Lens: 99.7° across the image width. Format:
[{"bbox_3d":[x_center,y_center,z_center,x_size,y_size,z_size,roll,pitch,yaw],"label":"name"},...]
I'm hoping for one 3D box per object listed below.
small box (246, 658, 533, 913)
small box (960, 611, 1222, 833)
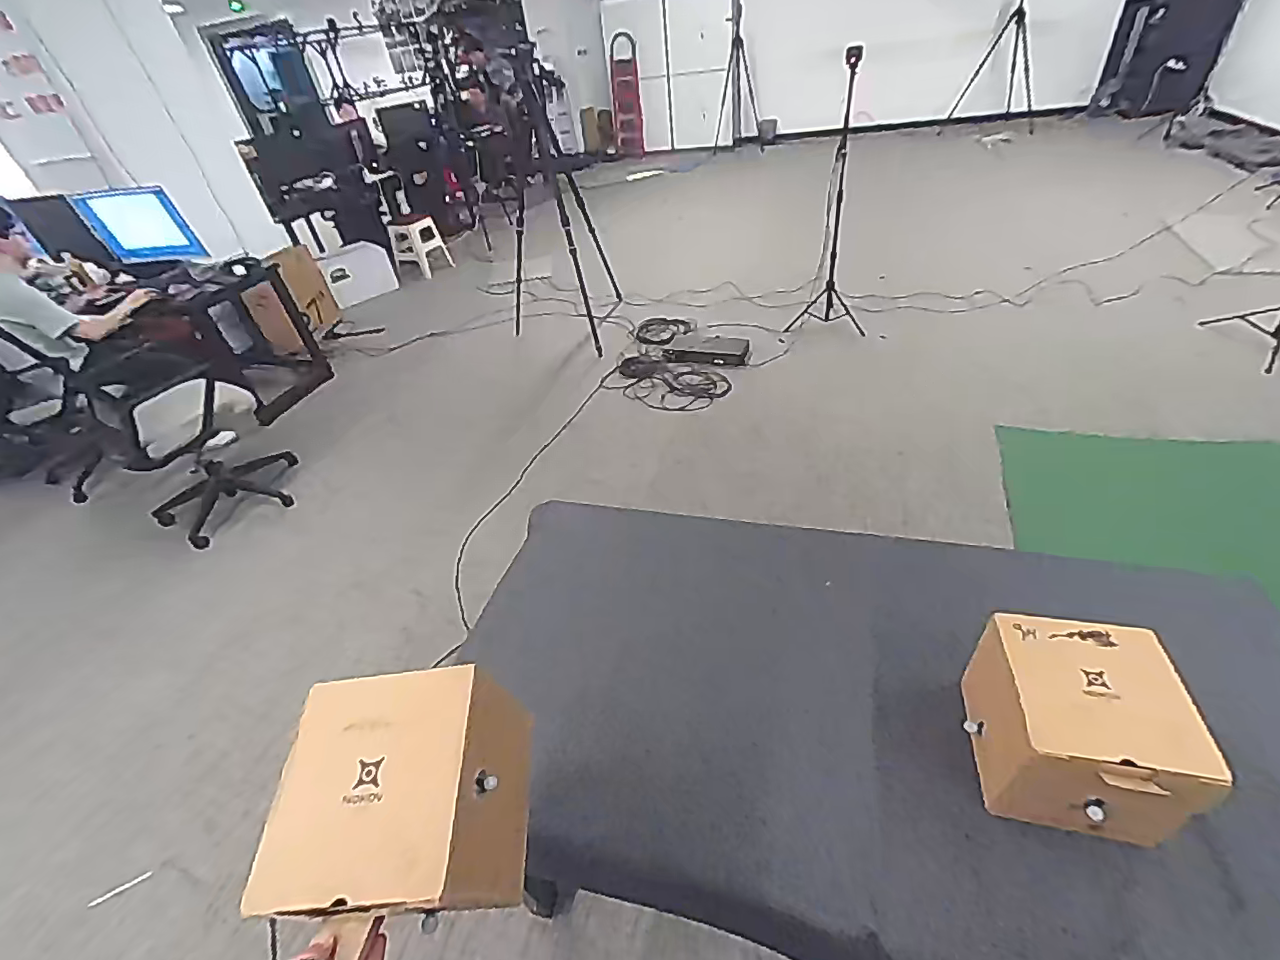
[{"bbox_3d":[-0.207,0.289,0.509,0.168,0.176,0.179,-9,51,5],"label":"small box"},{"bbox_3d":[0.502,0.285,0.641,0.168,0.176,0.179,5,42,15],"label":"small box"}]
